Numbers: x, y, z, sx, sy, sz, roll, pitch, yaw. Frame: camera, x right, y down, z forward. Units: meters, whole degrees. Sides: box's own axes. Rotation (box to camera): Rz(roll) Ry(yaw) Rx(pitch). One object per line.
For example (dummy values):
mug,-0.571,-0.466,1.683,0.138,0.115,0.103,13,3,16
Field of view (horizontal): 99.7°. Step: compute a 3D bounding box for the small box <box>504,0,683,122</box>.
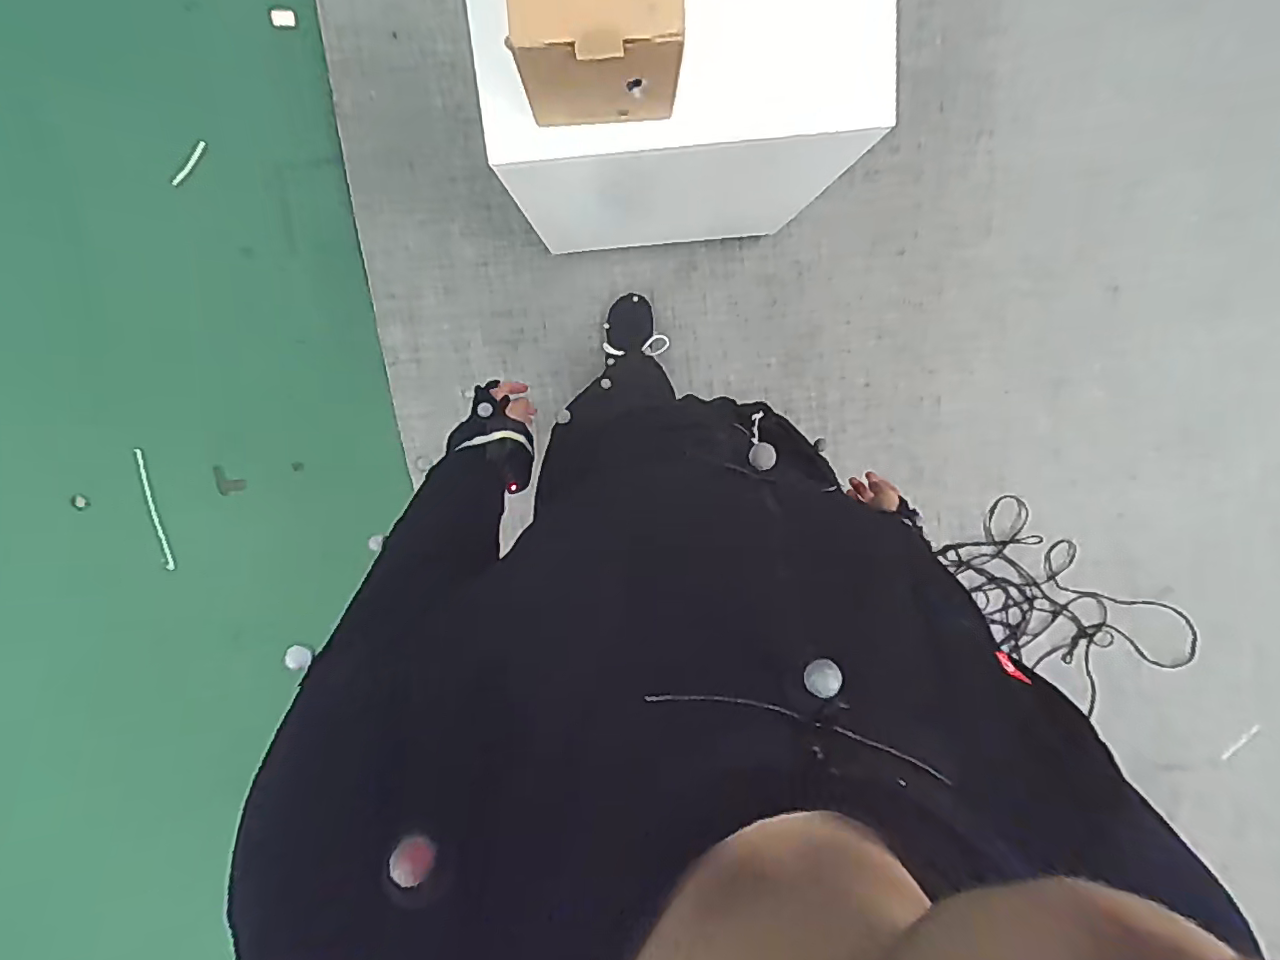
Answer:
small box,-0.048,-0.499,0.562,0.168,0.176,0.179,-5,100,-2
